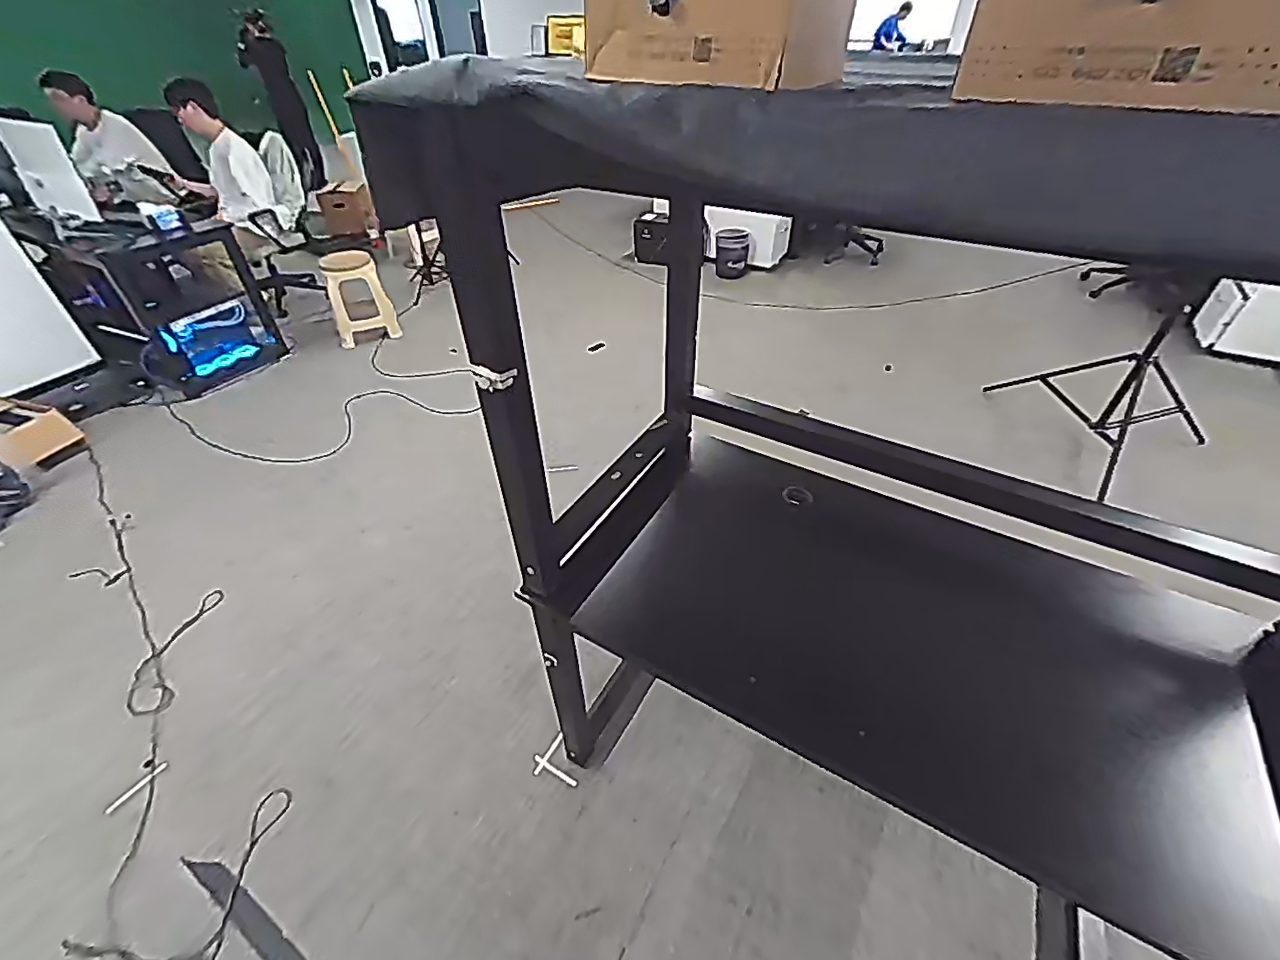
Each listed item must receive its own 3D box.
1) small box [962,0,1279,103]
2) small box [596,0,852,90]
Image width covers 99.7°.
[{"bbox_3d":[0.307,-0.324,0.305,0.168,0.176,0.179,22,43,24],"label":"small box"},{"bbox_3d":[0.072,-0.412,0.412,0.168,0.176,0.179,21,44,22],"label":"small box"}]
